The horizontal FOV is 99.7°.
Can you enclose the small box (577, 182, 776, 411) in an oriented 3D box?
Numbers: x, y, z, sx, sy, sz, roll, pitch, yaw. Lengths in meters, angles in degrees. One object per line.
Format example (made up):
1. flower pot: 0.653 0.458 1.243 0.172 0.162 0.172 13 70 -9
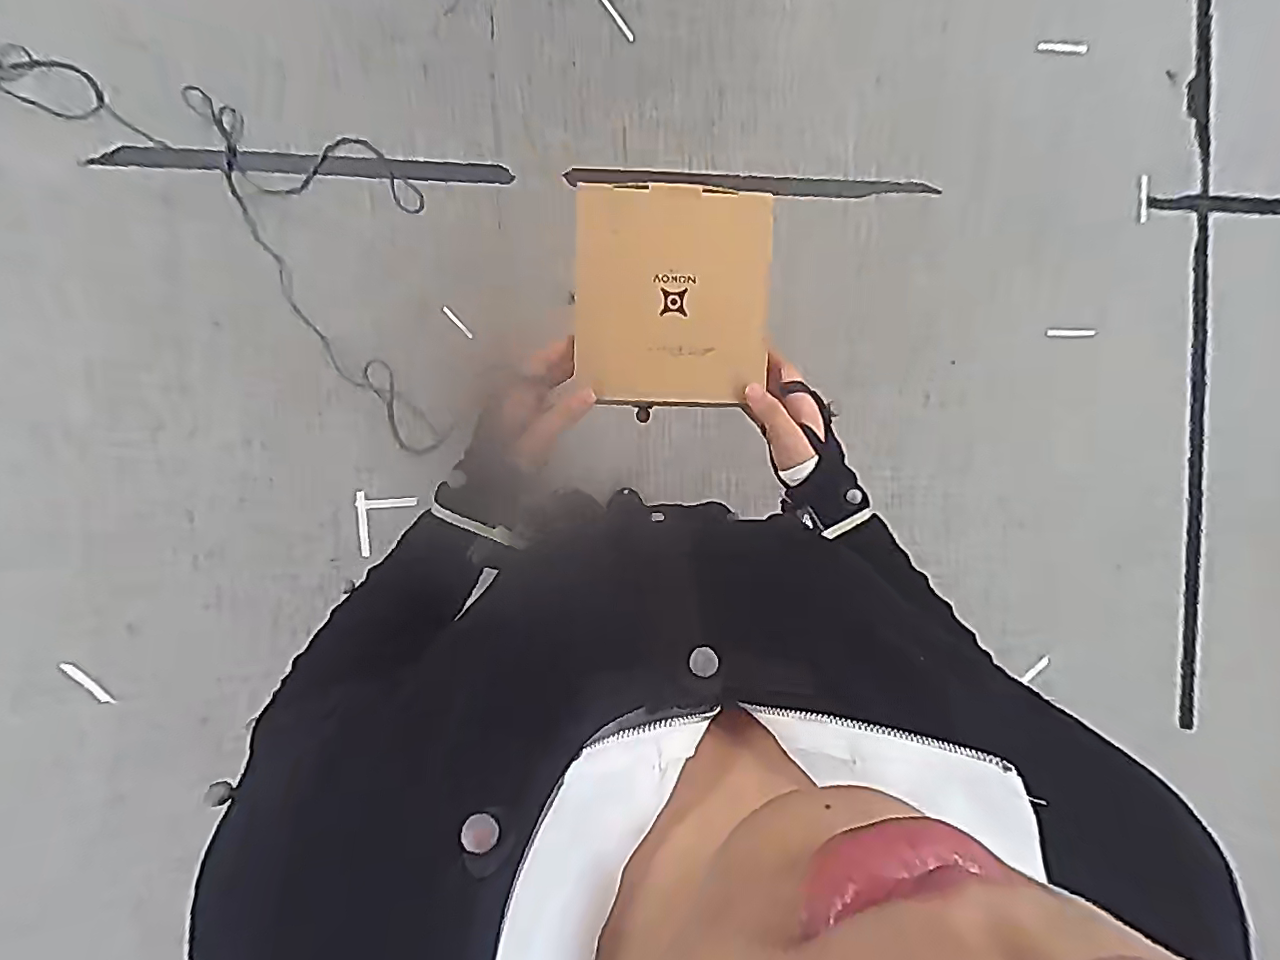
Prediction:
1. small box: 0.024 -0.161 0.531 0.168 0.176 0.179 1 96 -5
